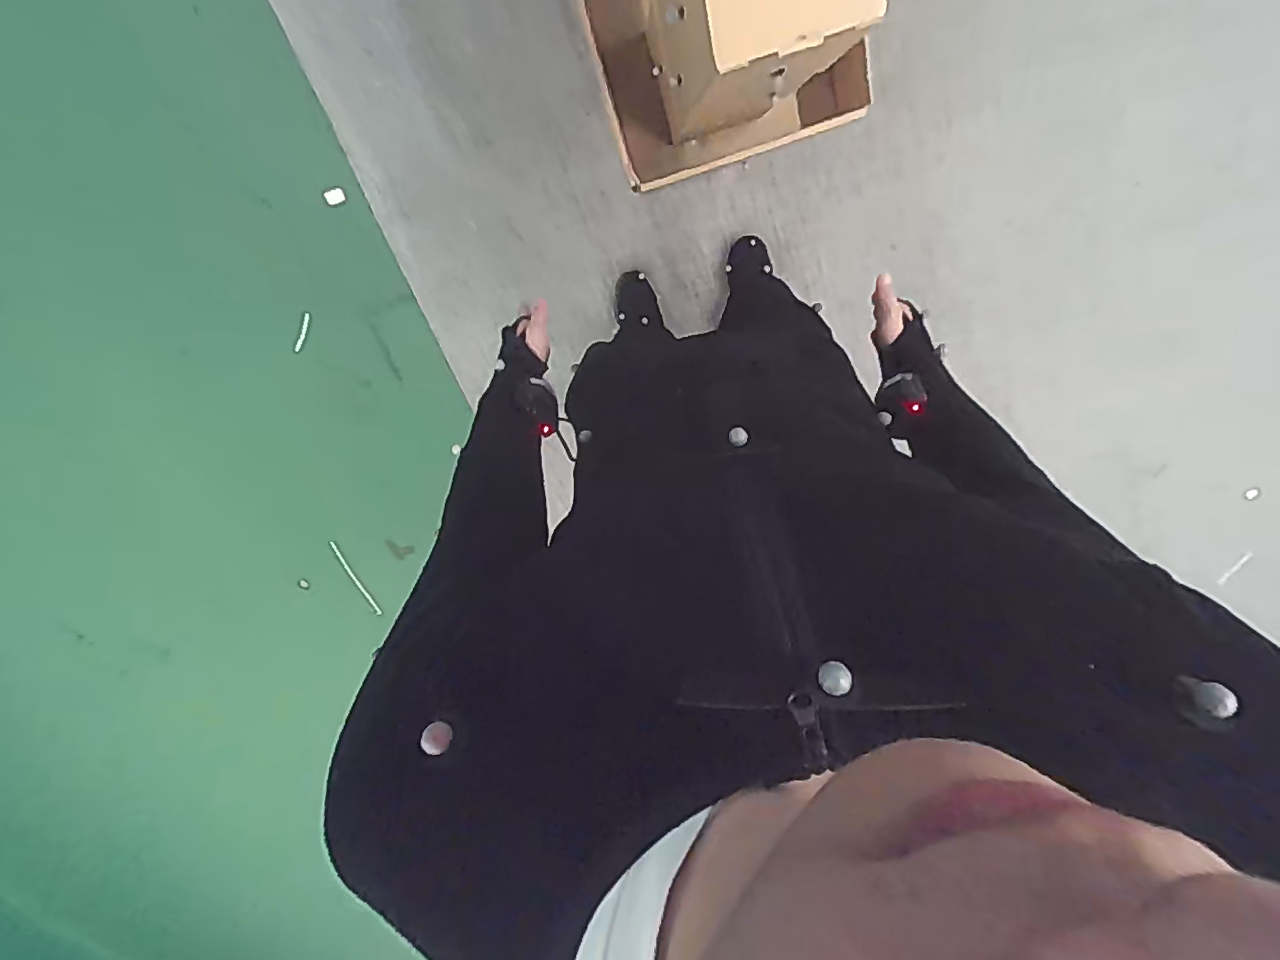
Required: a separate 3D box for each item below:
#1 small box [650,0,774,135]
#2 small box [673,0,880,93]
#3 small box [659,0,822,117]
[{"bbox_3d":[0.116,-0.663,0.843,0.168,0.176,0.179,-15,113,6],"label":"small box"},{"bbox_3d":[0.123,-0.522,0.548,0.168,0.176,0.179,-15,114,5],"label":"small box"},{"bbox_3d":[0.122,-0.594,0.695,0.168,0.176,0.179,-14,113,5],"label":"small box"}]
